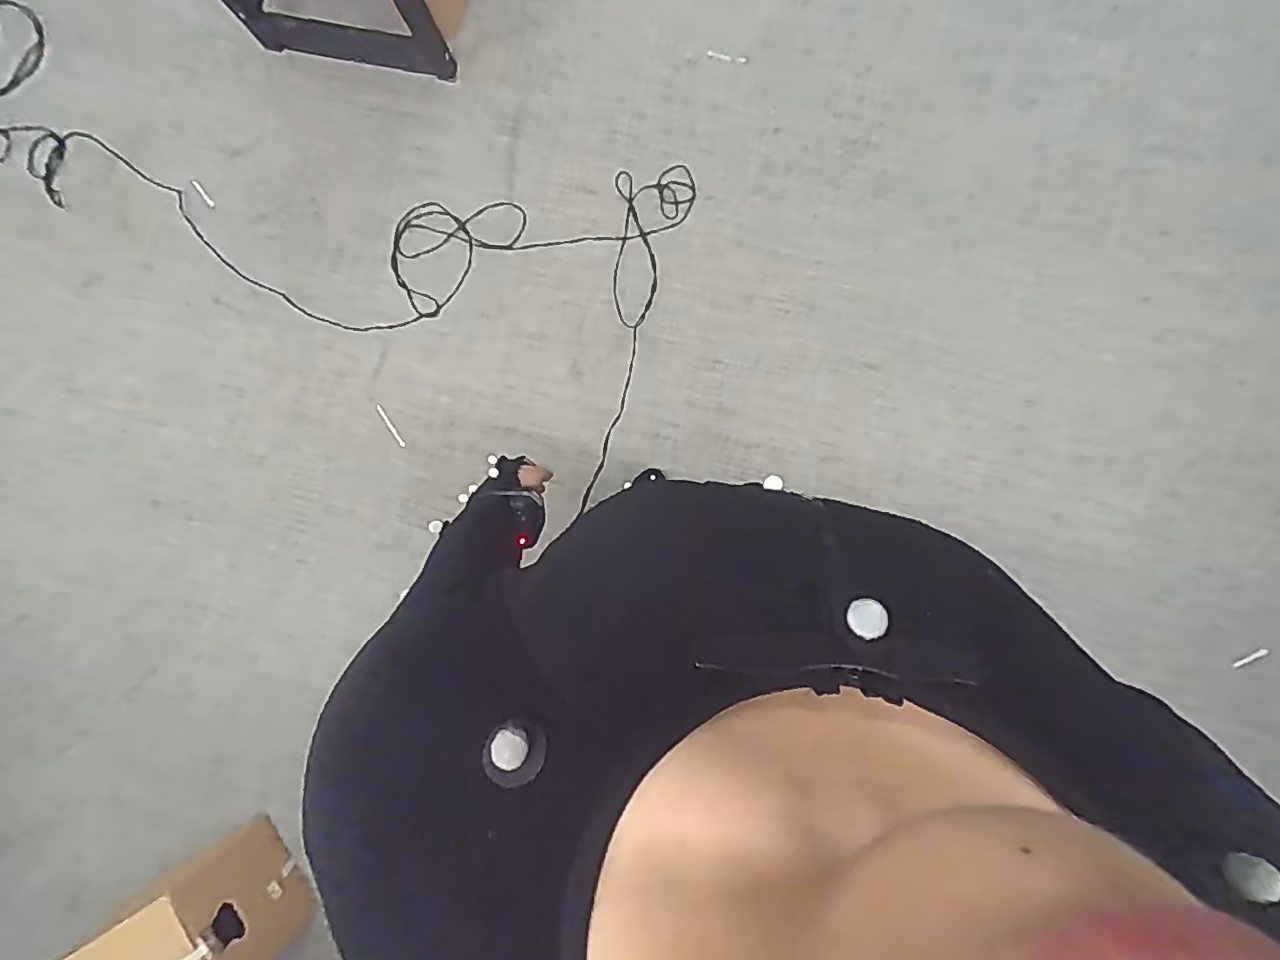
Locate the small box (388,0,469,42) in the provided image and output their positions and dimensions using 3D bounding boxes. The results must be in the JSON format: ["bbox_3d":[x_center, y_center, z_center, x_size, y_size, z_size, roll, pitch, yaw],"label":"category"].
[{"bbox_3d":[-0.585,-1.353,1.465,0.168,0.176,0.179,25,91,2],"label":"small box"}]
